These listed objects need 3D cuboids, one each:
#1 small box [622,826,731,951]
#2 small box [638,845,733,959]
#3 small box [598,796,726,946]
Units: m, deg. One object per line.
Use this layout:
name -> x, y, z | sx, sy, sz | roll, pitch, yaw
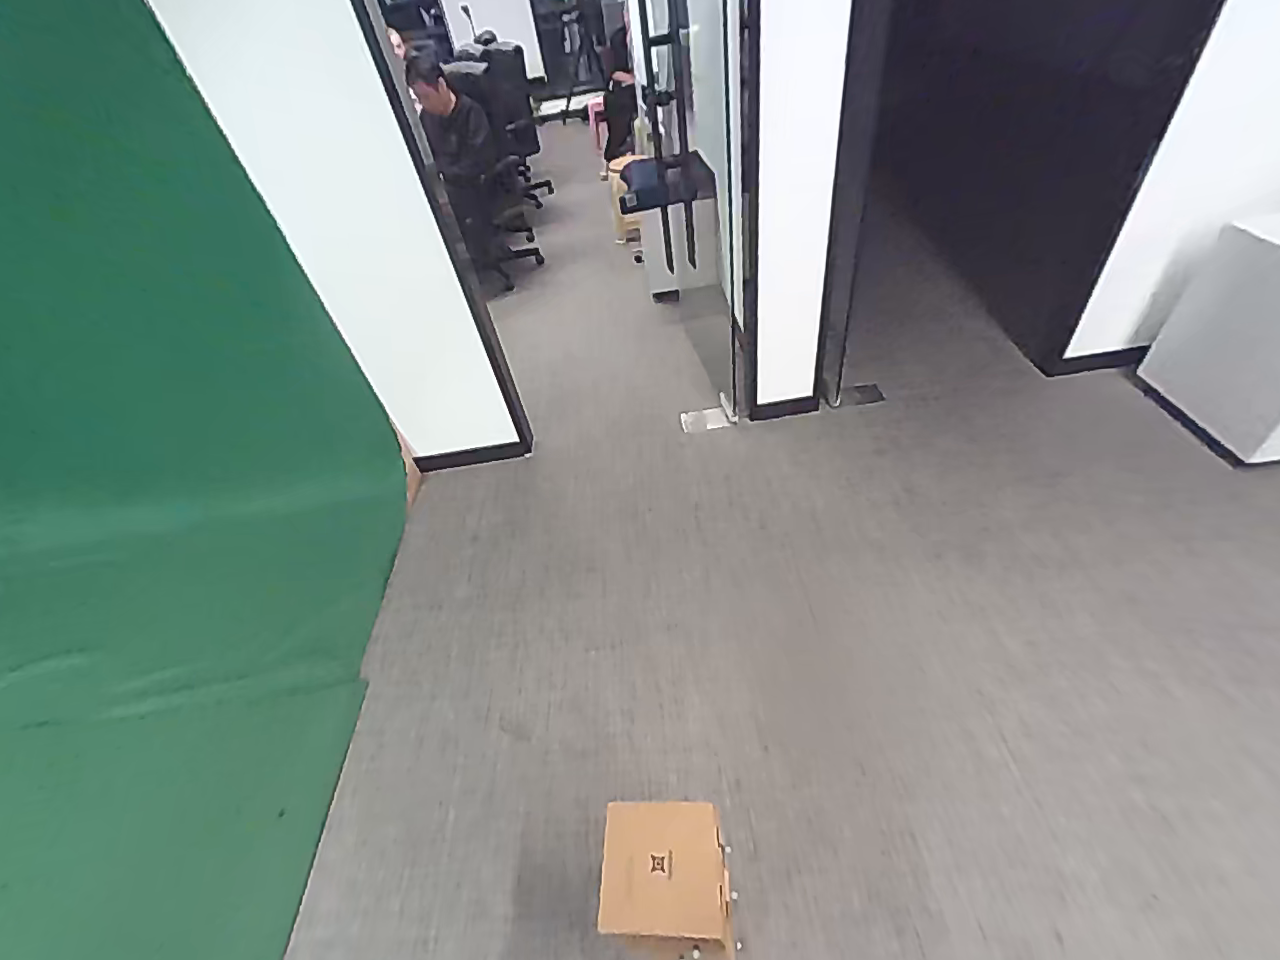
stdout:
small box -> 0.069, 0.729, 0.968 | 0.179, 0.176, 0.168 | -7, 46, 7
small box -> 0.094, 0.841, 1.080 | 0.179, 0.176, 0.168 | -6, 44, 8
small box -> 0.042, 0.614, 0.851 | 0.179, 0.176, 0.168 | -6, 43, 9
